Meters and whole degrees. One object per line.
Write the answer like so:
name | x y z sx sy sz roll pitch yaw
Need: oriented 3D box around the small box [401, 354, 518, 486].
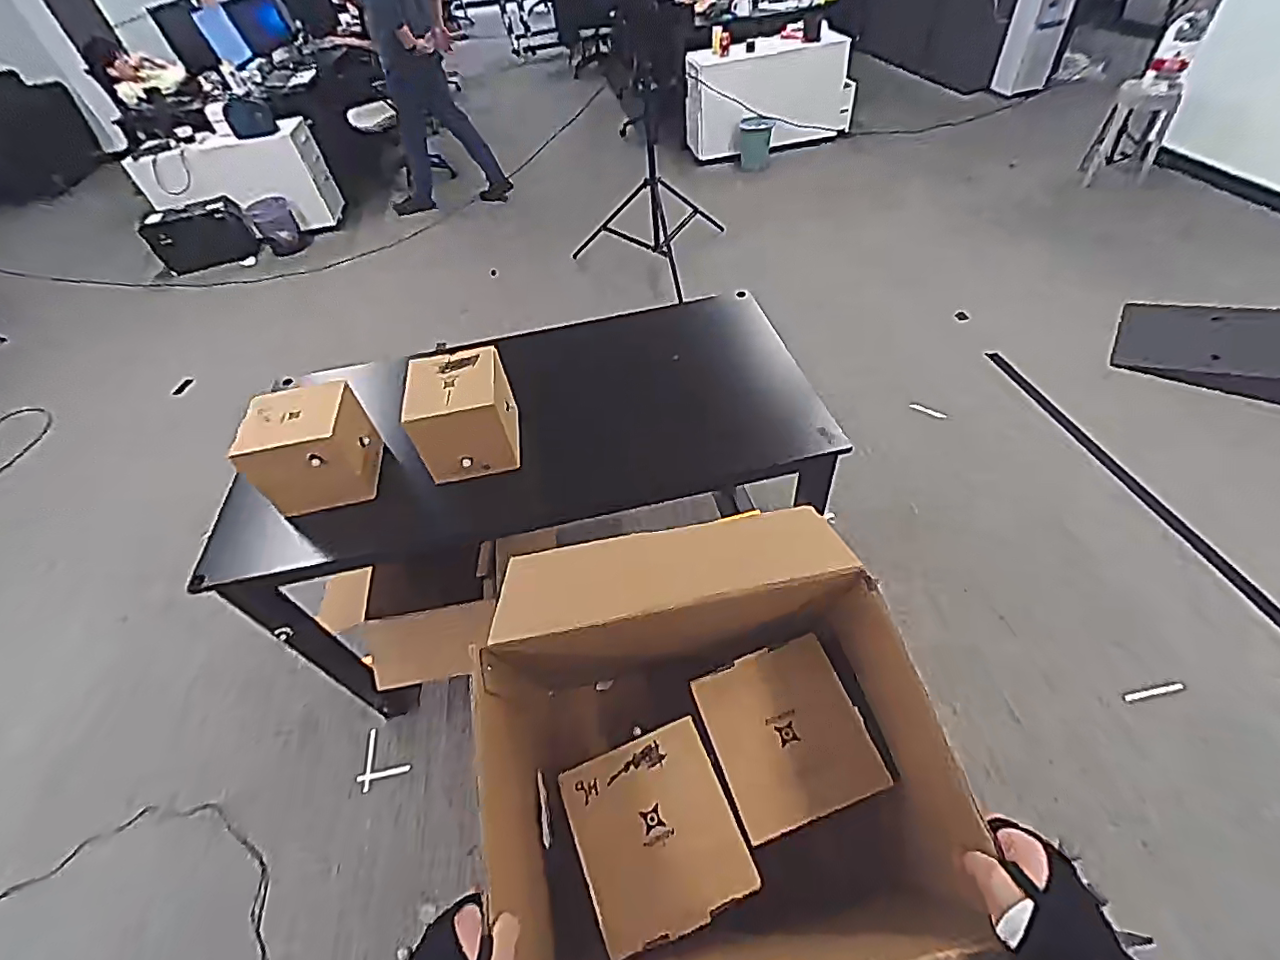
small box | -0.338 -0.115 1.047 0.168 0.176 0.179 -11 48 -2

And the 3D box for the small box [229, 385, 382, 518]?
small box | -0.615 -0.051 1.024 0.179 0.176 0.168 -12 47 -4
